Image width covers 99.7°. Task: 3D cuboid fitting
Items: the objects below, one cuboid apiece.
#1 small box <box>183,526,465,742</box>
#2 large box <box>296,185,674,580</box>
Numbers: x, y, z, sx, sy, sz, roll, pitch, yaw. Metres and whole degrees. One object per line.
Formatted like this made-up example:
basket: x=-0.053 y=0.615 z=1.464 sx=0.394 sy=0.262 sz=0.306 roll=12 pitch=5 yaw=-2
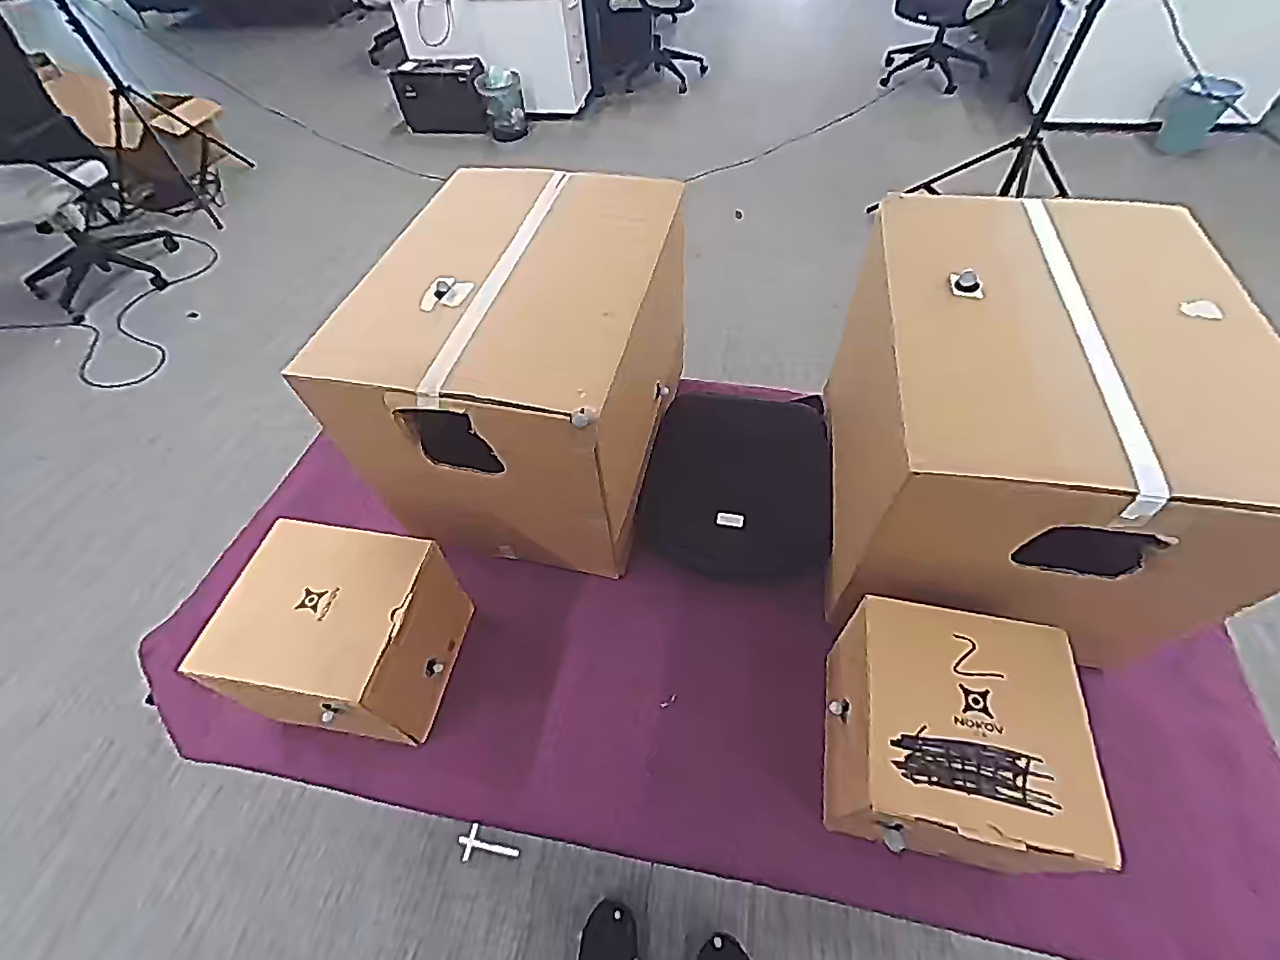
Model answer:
small box: x=-0.316 y=0.171 z=0.589 sx=0.179 sy=0.176 sz=0.168 roll=7 pitch=53 yaw=5
large box: x=-0.136 y=-0.131 z=0.722 sx=0.320 sy=0.320 sz=0.408 roll=8 pitch=57 yaw=11
